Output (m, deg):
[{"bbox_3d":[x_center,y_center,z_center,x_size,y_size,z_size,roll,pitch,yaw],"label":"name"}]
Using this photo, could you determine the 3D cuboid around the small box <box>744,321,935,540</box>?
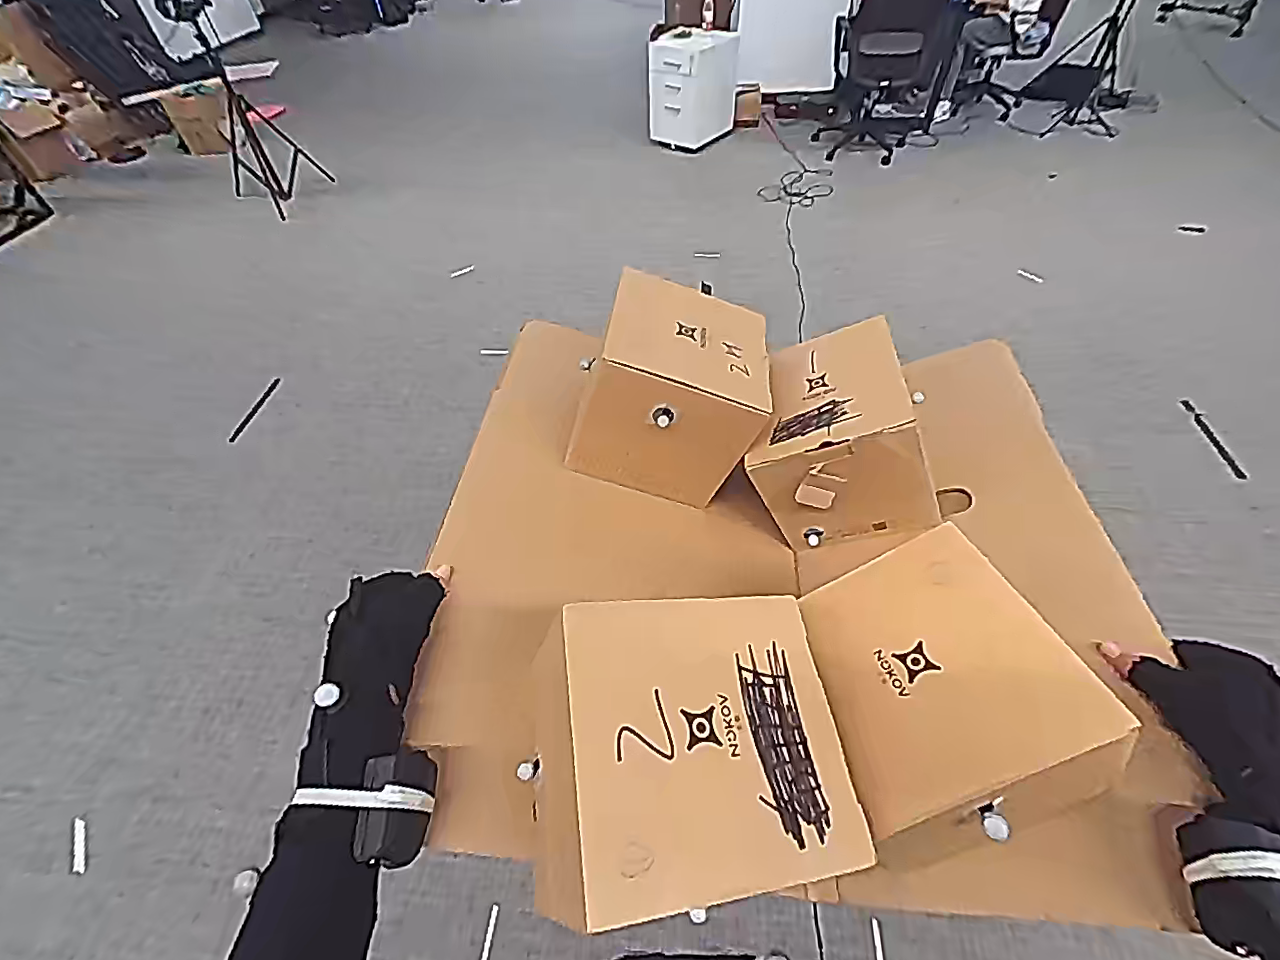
[{"bbox_3d":[0.230,-0.045,0.634,0.168,0.176,0.179,-15,44,26],"label":"small box"}]
